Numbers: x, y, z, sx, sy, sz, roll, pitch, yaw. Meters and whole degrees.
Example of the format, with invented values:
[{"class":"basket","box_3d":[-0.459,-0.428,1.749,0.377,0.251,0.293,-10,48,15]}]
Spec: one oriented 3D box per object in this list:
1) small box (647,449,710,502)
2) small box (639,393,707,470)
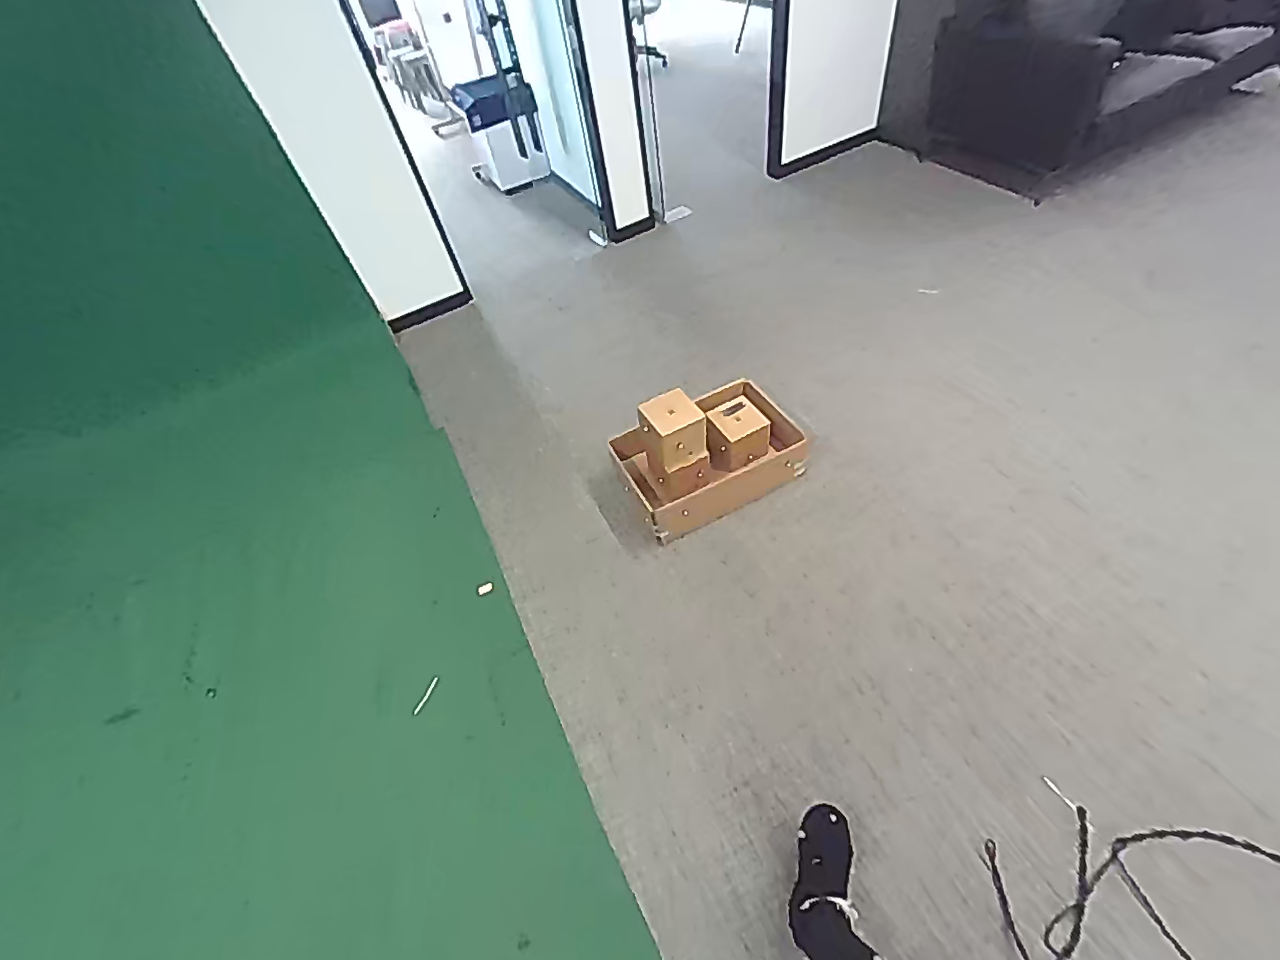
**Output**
[{"class":"small box","box_3d":[0.142,-0.044,1.937,0.168,0.176,0.179,-25,50,-13]},{"class":"small box","box_3d":[0.115,-0.157,1.823,0.168,0.176,0.179,-26,50,-14]}]
